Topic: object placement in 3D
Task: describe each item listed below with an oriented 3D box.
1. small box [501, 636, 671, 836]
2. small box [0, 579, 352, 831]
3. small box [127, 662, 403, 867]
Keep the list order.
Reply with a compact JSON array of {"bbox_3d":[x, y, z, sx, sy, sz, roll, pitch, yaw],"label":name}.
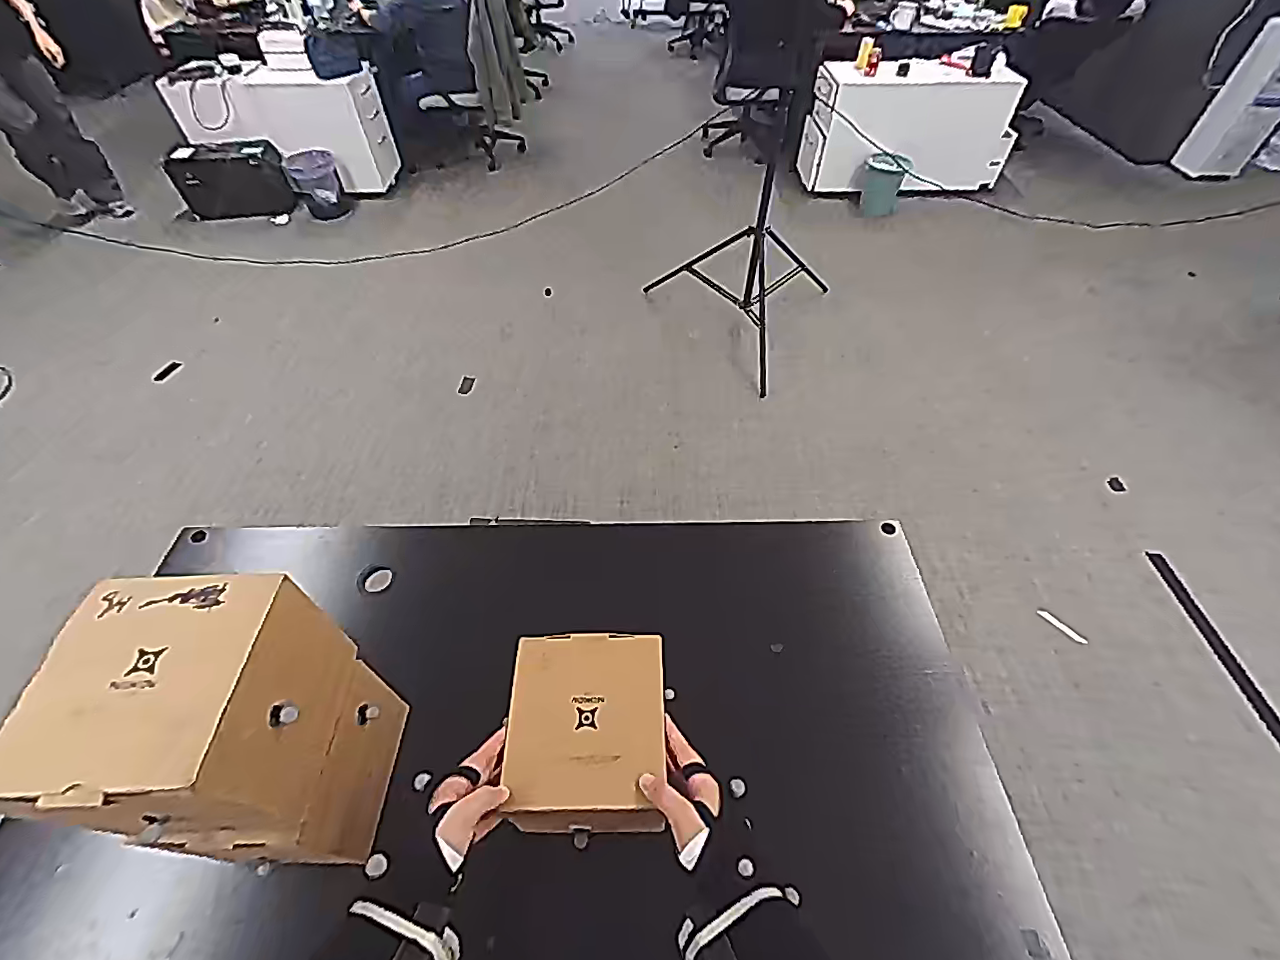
[{"bbox_3d":[-0.053,0.299,0.630,0.168,0.176,0.179,-2,51,0],"label":"small box"},{"bbox_3d":[-0.392,0.208,0.489,0.168,0.176,0.179,-2,51,-2],"label":"small box"},{"bbox_3d":[-0.390,0.320,0.609,0.168,0.176,0.179,0,50,0],"label":"small box"}]
